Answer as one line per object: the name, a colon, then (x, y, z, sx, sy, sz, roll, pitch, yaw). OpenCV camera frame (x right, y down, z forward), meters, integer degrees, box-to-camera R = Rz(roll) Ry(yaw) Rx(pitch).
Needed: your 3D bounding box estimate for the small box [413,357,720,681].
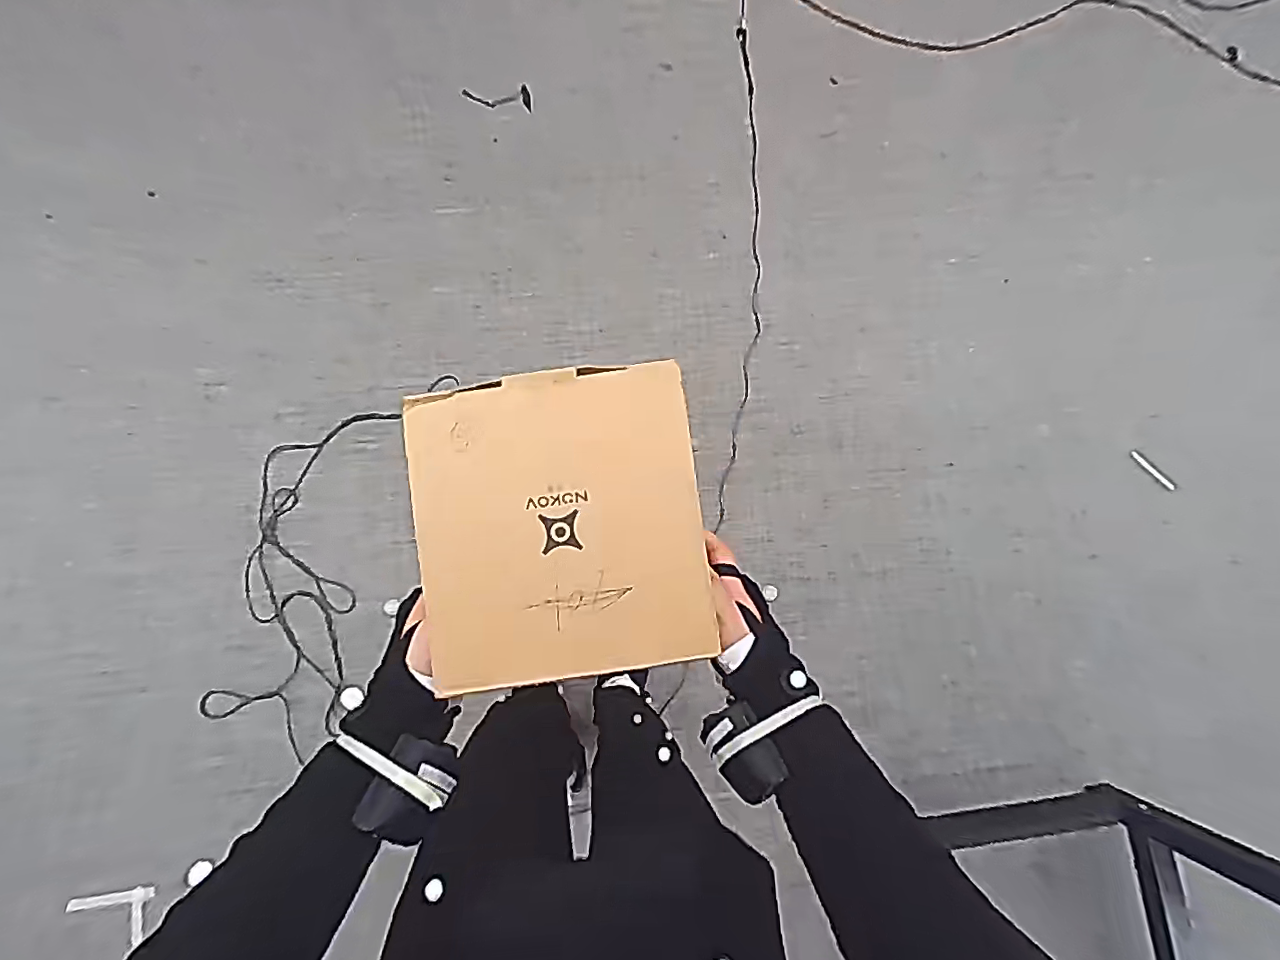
small box: (-0.045, 0.026, 0.402, 0.168, 0.176, 0.179, -9, 88, 0)
